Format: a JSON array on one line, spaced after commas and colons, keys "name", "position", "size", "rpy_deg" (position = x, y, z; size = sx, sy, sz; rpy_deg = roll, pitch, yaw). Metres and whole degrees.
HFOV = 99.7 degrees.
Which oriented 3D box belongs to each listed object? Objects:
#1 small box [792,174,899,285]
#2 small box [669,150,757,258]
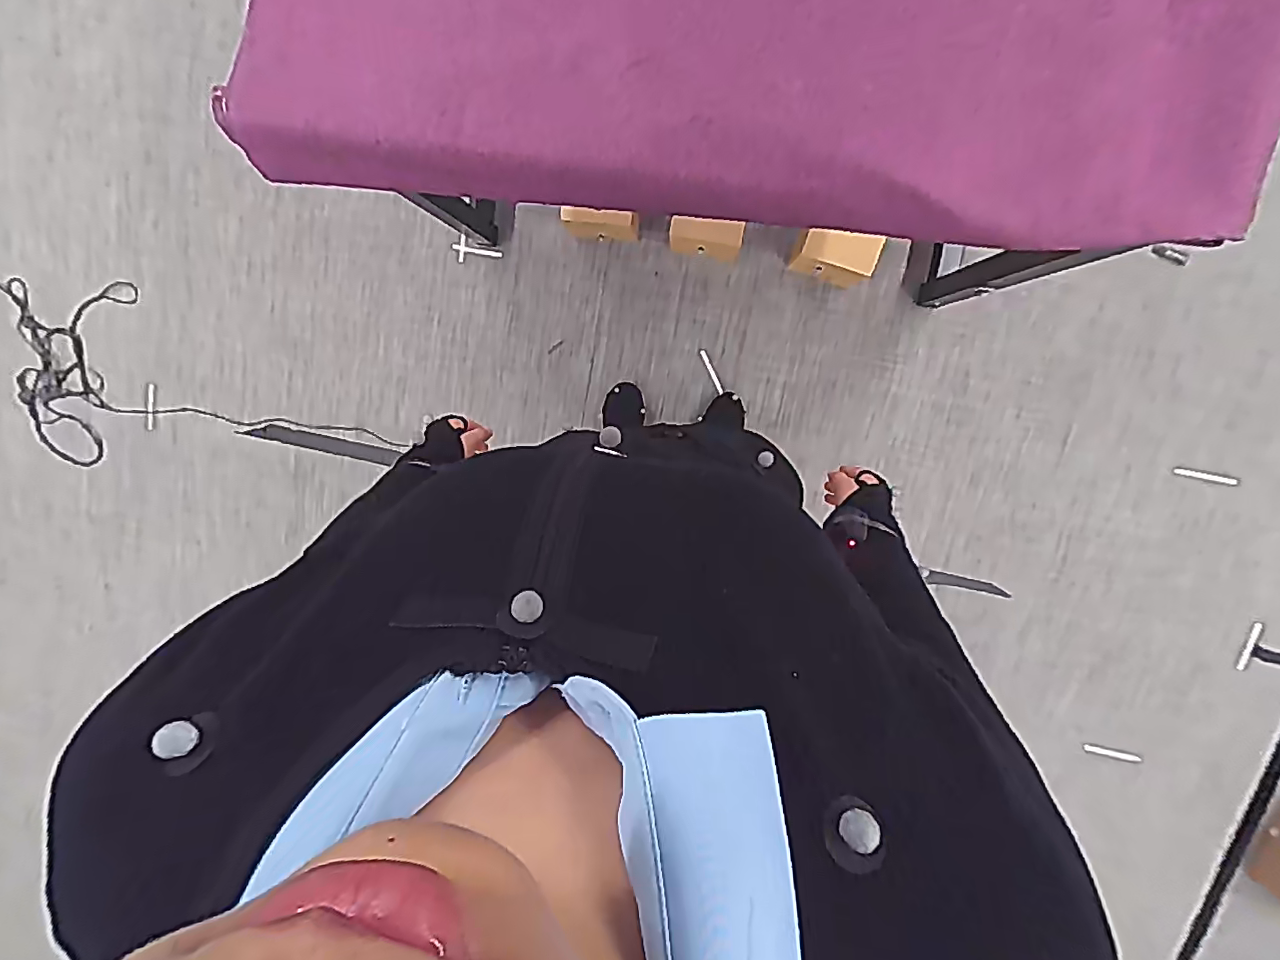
[{"name": "small box", "position": [0.469, -0.576, 1.271], "size": [0.168, 0.176, 0.179], "rpy_deg": [19, 101, 2]}, {"name": "small box", "position": [0.168, -0.642, 1.281], "size": [0.168, 0.176, 0.179], "rpy_deg": [12, 101, 2]}]
